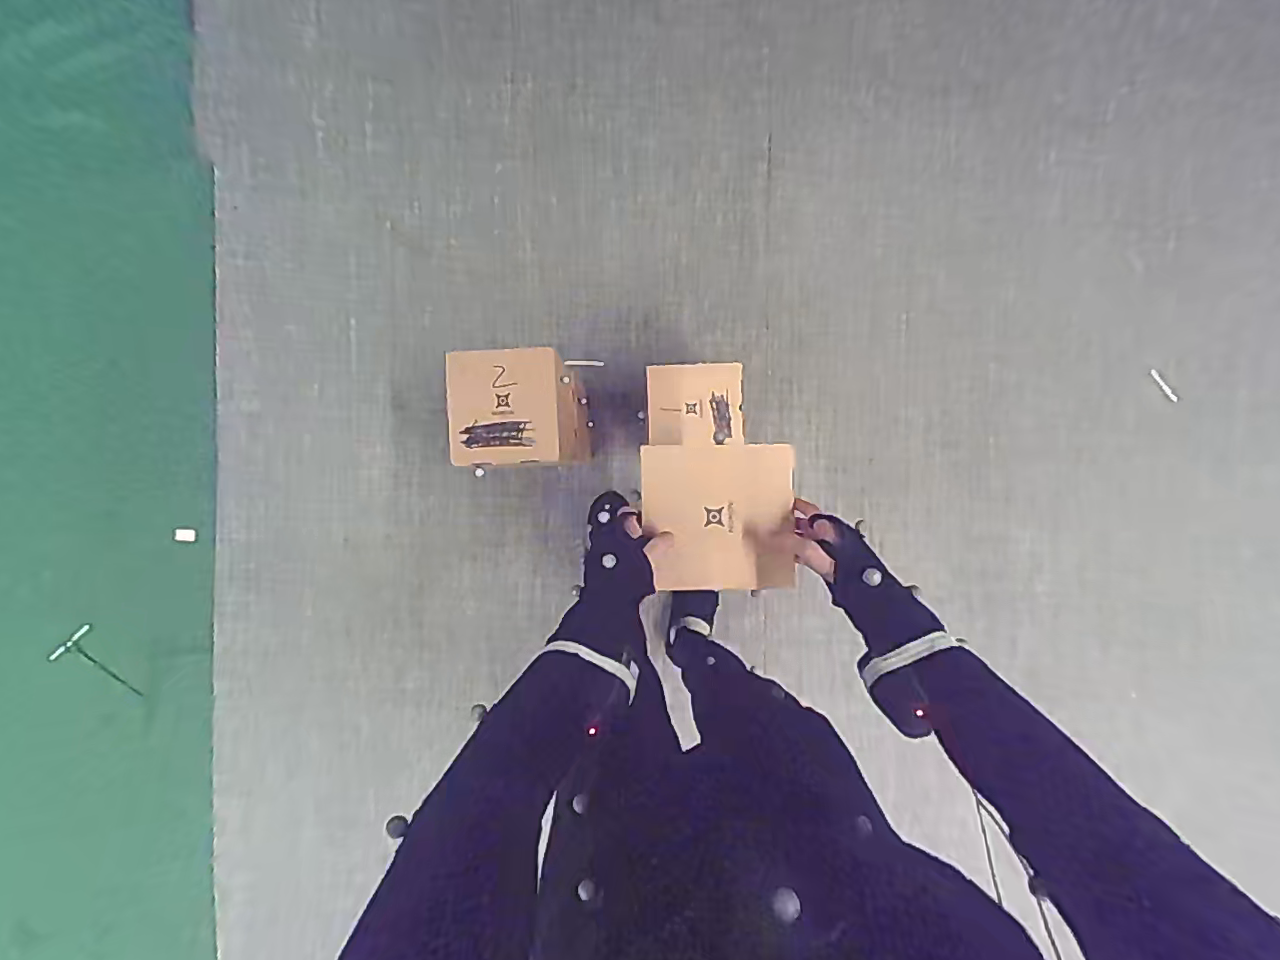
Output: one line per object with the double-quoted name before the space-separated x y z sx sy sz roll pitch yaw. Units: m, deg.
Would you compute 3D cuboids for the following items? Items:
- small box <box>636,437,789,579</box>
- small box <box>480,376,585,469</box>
"small box" 0.084 0.034 0.702 0.179 0.176 0.168 -1 90 -1
"small box" -0.204 -0.109 1.075 0.179 0.176 0.168 -3 90 2
